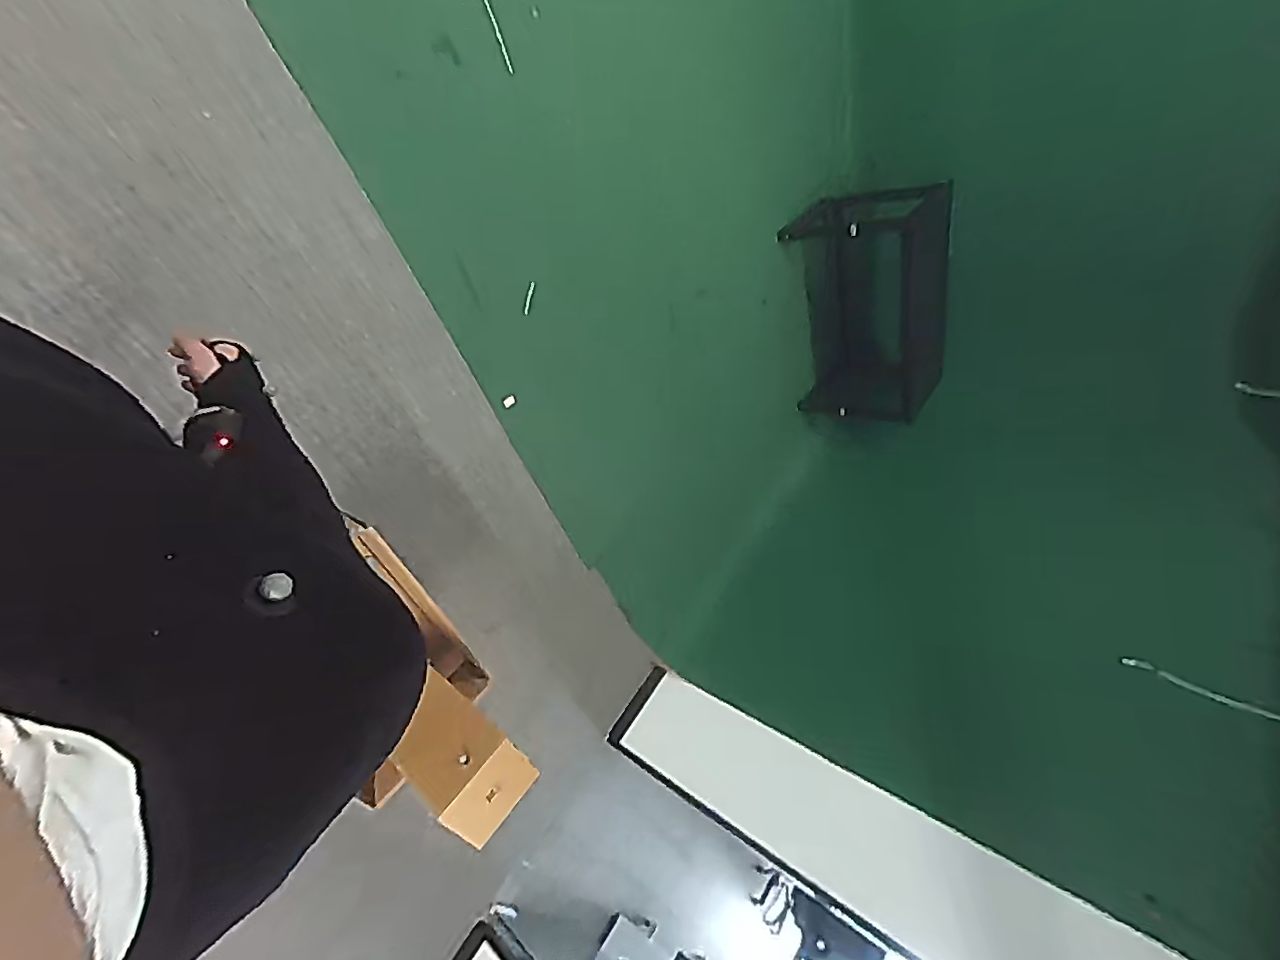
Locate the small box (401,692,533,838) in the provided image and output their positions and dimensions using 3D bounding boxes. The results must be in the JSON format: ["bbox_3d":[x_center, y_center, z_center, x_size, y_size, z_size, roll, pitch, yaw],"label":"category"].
[{"bbox_3d":[-0.363,0.582,1.119,0.179,0.176,0.168,-46,134,-29],"label":"small box"}]
